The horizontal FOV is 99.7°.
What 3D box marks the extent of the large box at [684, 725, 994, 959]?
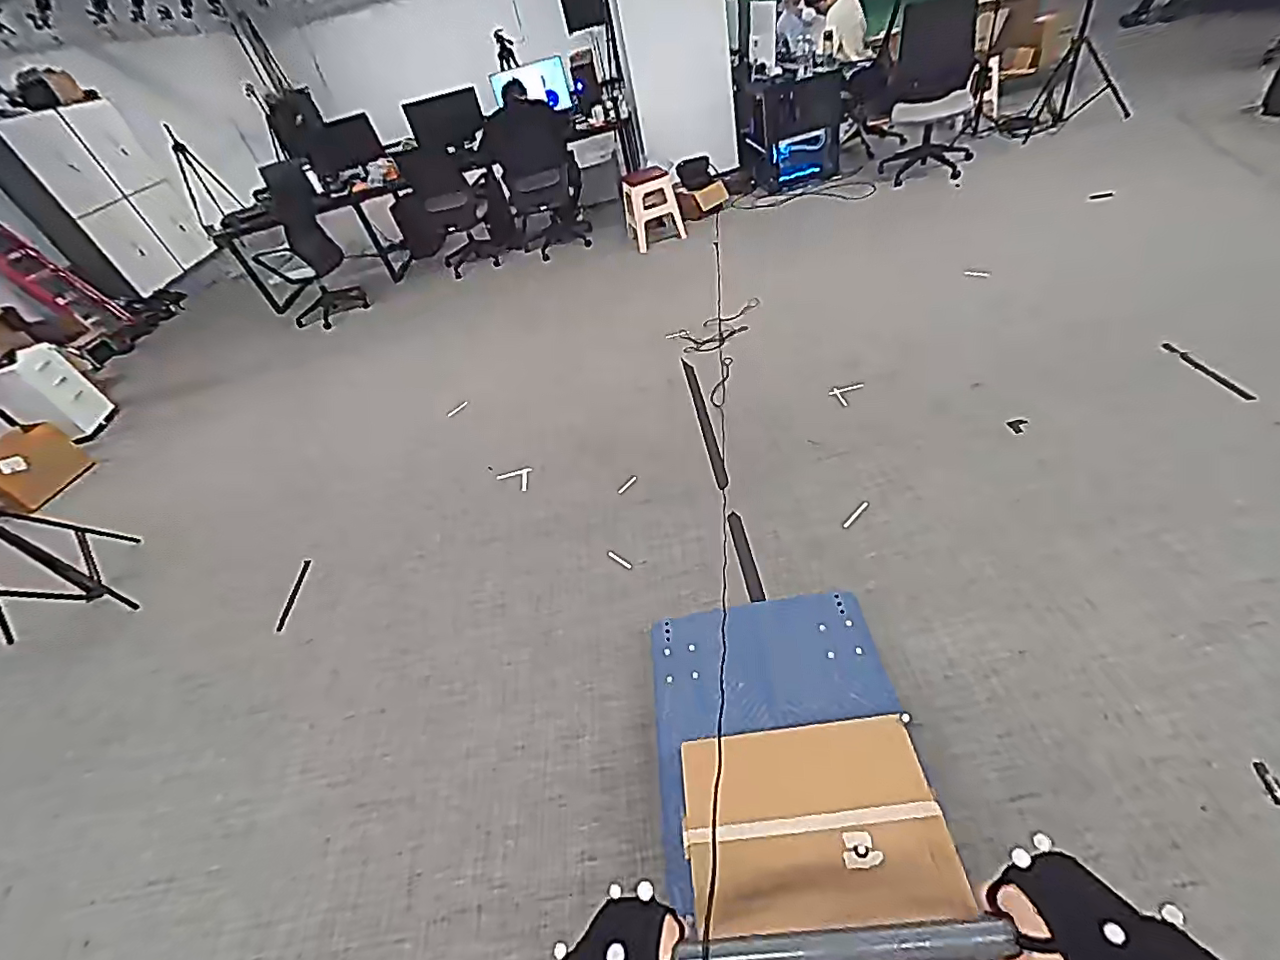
[{"bbox_3d":[0.310,0.678,0.954,0.408,0.320,0.320,-11,41,6],"label":"large box"}]
